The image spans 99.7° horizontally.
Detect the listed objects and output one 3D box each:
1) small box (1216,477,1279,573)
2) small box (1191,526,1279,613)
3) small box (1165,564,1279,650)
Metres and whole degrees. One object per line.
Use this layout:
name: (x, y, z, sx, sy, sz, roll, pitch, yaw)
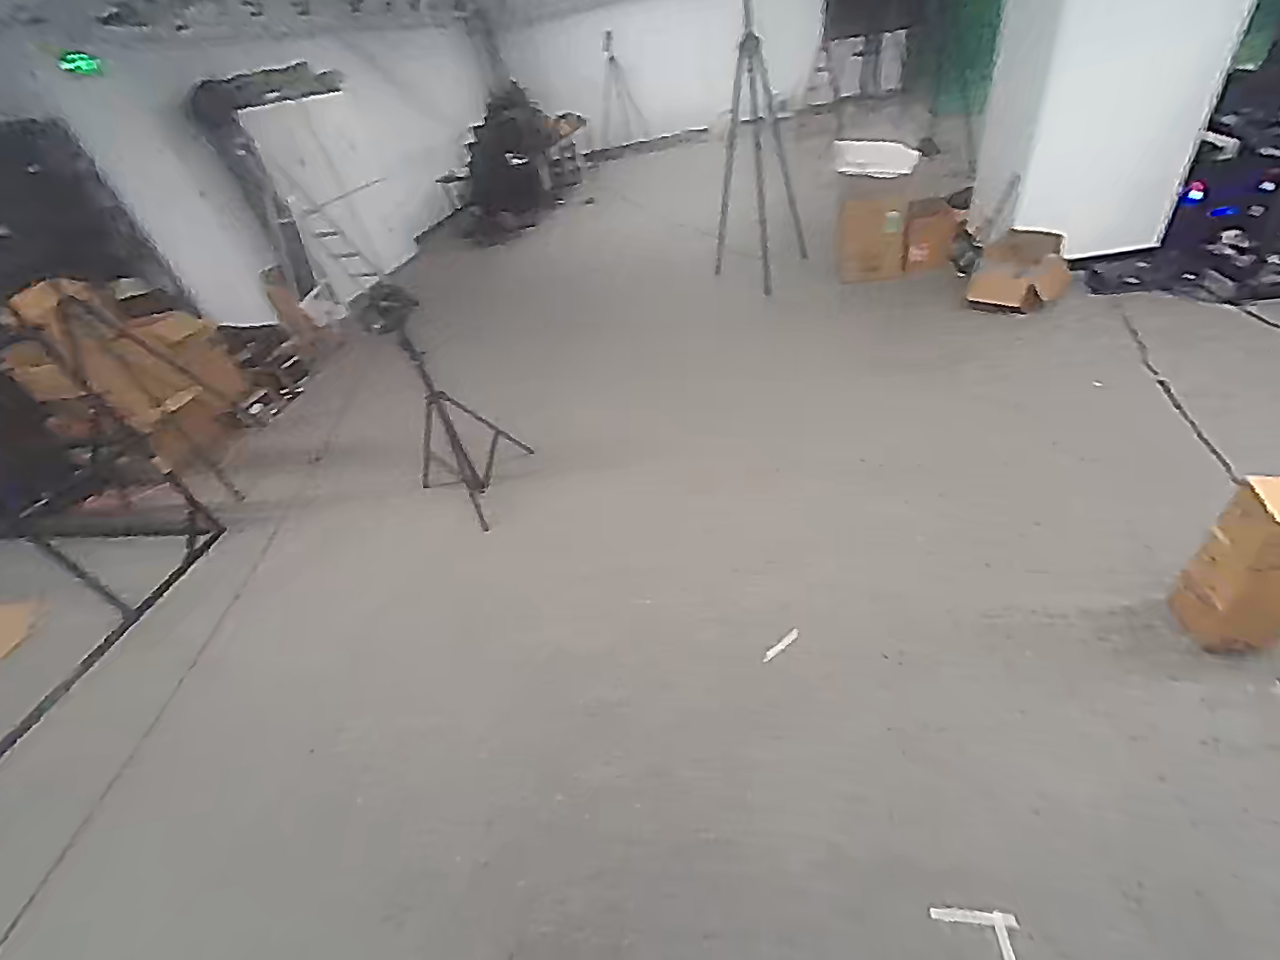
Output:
small box: (1.600, 0.115, 1.342, 0.168, 0.176, 0.179, 3, 41, 22)
small box: (1.635, 0.239, 1.444, 0.179, 0.176, 0.168, -2, 40, 16)
small box: (1.667, 0.362, 1.545, 0.168, 0.176, 0.179, -3, 40, 15)
